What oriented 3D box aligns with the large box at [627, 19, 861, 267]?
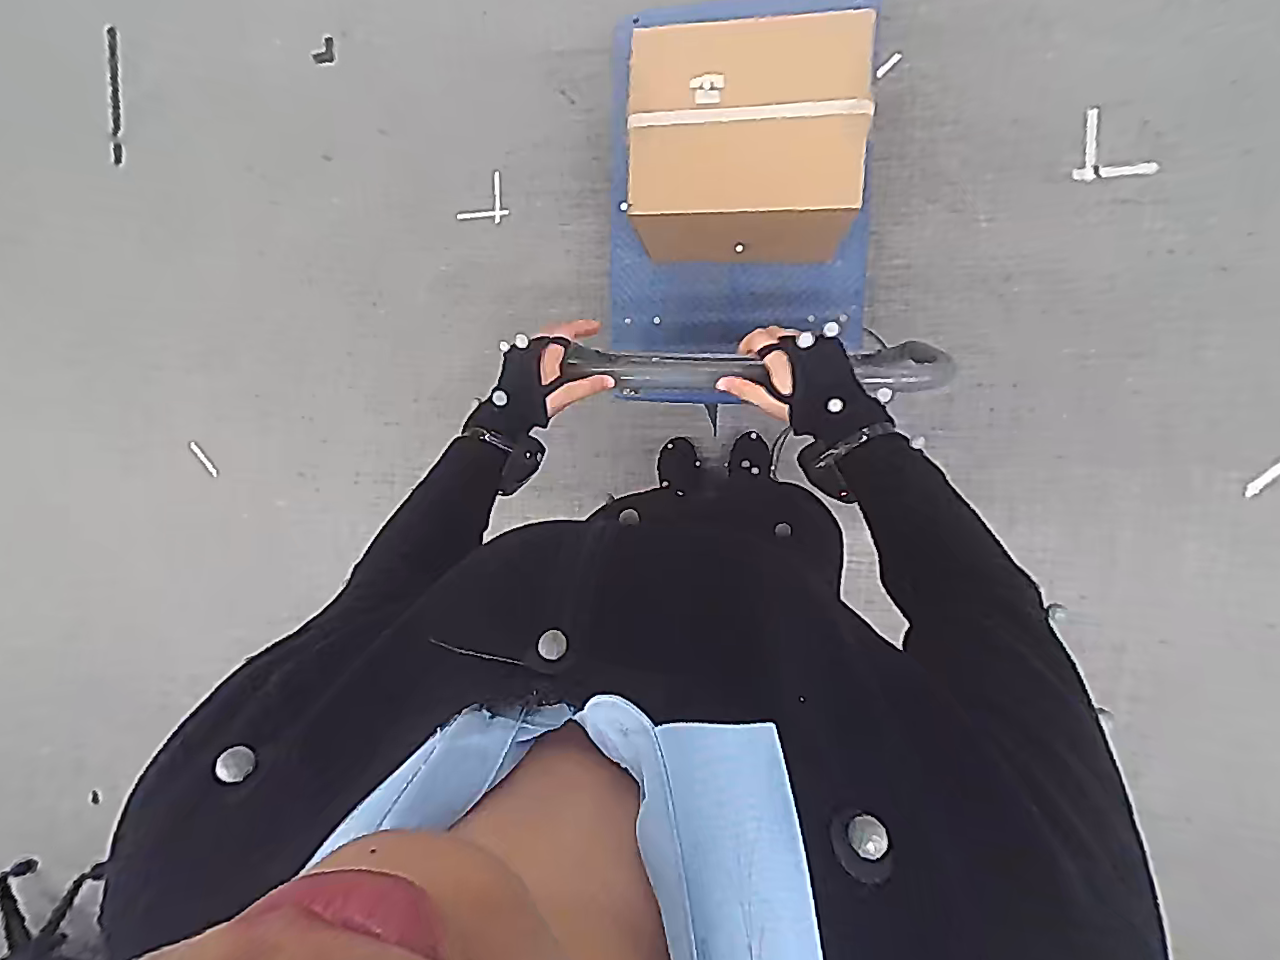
[{"bbox_3d":[0.202,-0.636,1.094,0.408,0.320,0.320,3,95,10],"label":"large box"}]
